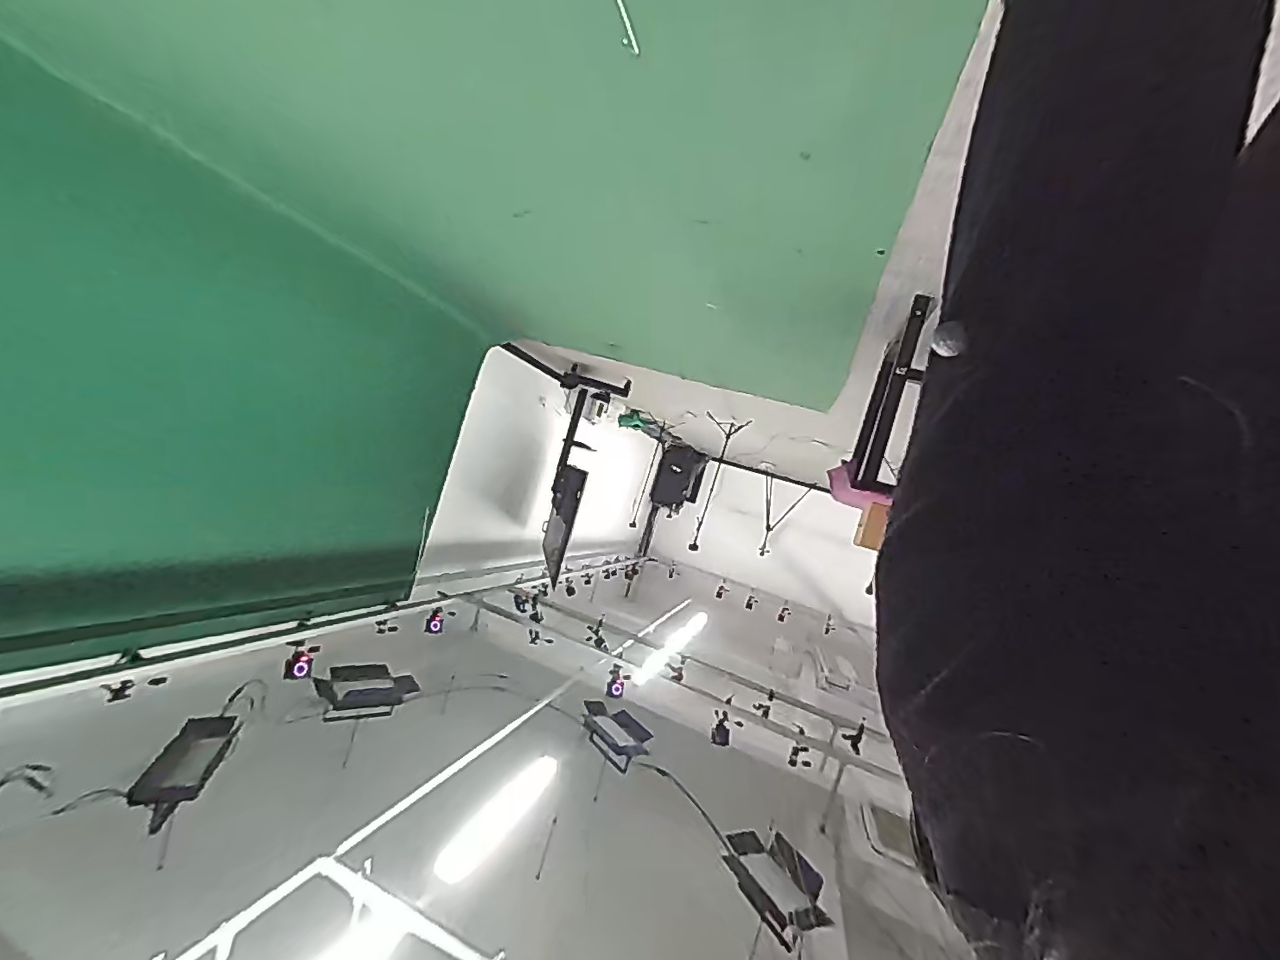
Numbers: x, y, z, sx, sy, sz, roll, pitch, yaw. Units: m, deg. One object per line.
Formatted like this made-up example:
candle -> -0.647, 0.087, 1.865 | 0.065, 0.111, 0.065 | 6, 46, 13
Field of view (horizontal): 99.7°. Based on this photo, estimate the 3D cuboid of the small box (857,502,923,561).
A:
small box -> 0.908, 0.183, 1.969 | 0.168, 0.176, 0.179 | 16, 180, 15
